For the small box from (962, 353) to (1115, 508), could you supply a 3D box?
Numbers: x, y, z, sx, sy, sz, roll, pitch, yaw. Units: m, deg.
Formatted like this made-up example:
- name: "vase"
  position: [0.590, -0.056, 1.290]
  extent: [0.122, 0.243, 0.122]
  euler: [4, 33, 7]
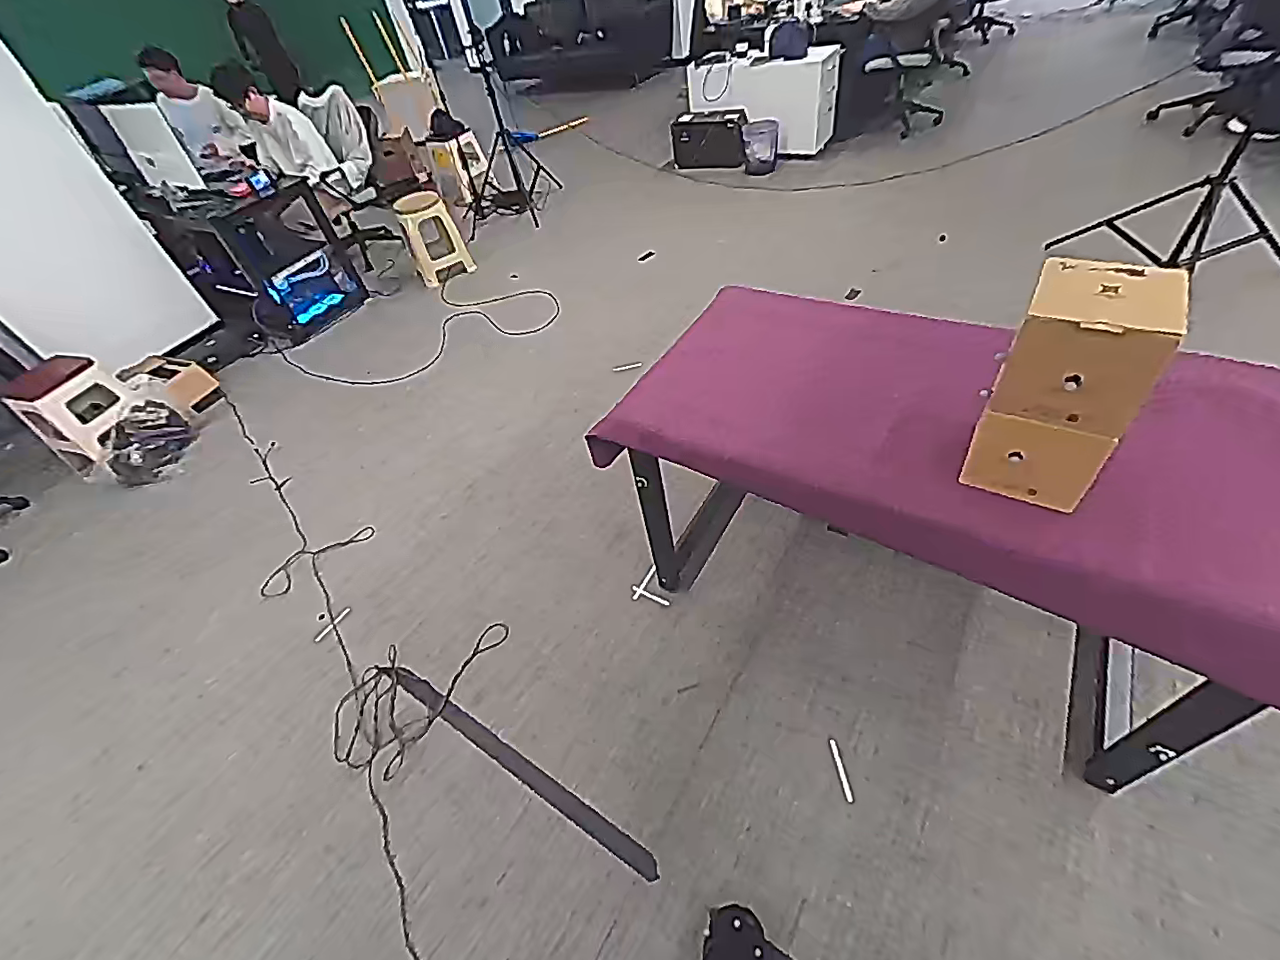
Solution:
- name: "small box"
  position: [0.659, -0.082, 0.900]
  extent: [0.168, 0.176, 0.179]
  euler: [20, 54, 27]

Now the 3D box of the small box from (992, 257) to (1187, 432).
- name: "small box"
  position: [0.638, -0.196, 0.783]
  extent: [0.168, 0.176, 0.179]
  euler: [21, 55, 28]
